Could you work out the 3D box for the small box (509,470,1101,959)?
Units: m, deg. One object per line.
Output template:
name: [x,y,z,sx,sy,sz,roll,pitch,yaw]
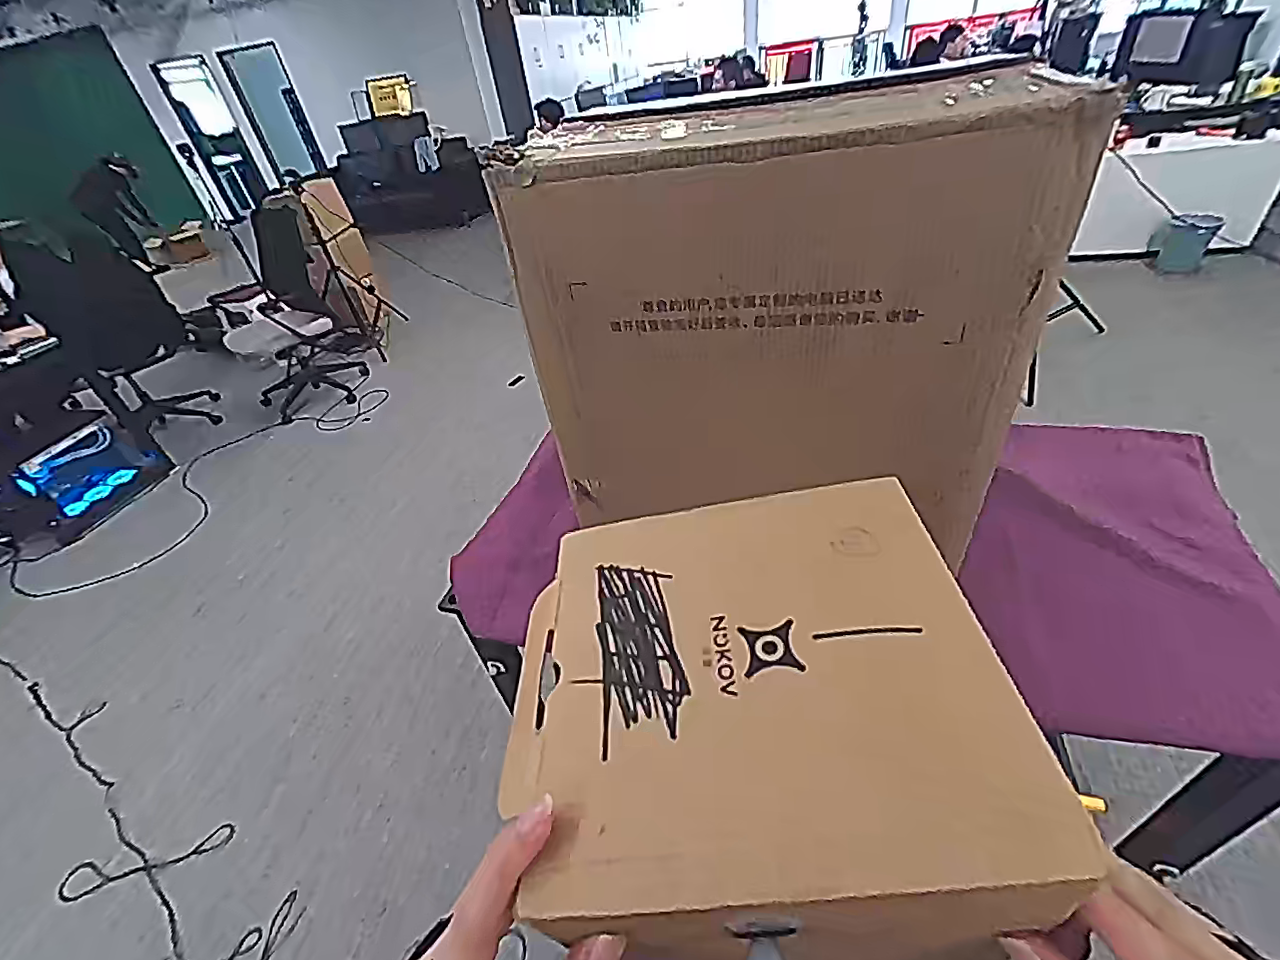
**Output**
small box: [0.060,0.122,0.267,0.179,0.176,0.168,-10,41,8]
